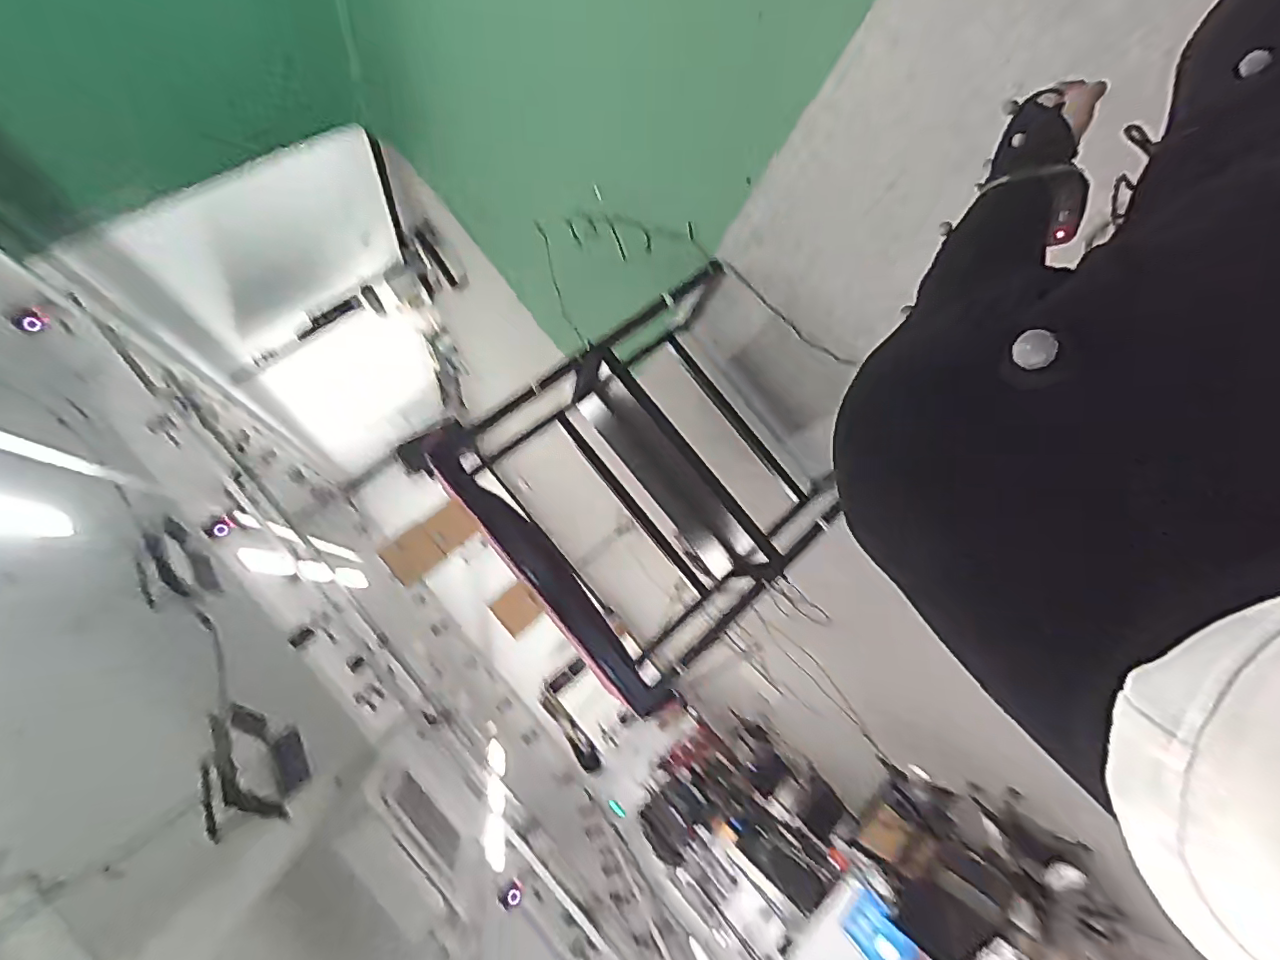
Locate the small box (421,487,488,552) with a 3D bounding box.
[{"bbox_3d":[-0.679,0.147,1.993,0.168,0.176,0.179,51,162,-3],"label":"small box"}]

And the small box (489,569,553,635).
[{"bbox_3d":[-0.436,0.439,1.982,0.168,0.176,0.179,51,162,-2],"label":"small box"}]
